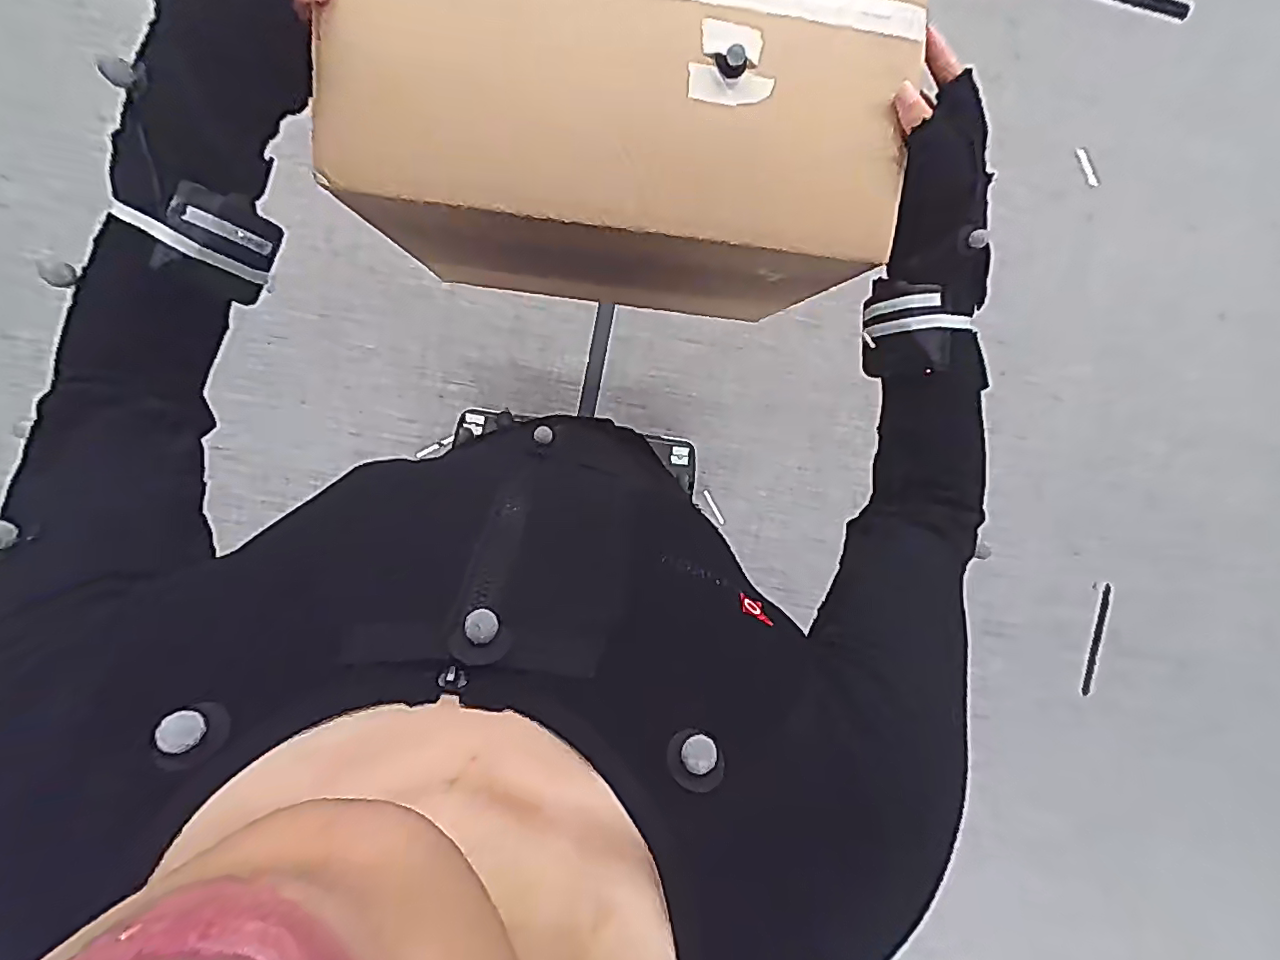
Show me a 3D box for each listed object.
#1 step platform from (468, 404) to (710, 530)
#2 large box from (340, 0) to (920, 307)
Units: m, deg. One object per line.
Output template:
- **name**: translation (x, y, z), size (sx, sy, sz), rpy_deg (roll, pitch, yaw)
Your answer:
- **step platform**: translation (-0.142, -0.038, 1.569), size (0.684, 0.204, 0.286), rpy_deg (7, 95, -6)
- **large box**: translation (-0.013, -0.364, 0.515), size (0.408, 0.320, 0.320), rpy_deg (5, 99, -7)
